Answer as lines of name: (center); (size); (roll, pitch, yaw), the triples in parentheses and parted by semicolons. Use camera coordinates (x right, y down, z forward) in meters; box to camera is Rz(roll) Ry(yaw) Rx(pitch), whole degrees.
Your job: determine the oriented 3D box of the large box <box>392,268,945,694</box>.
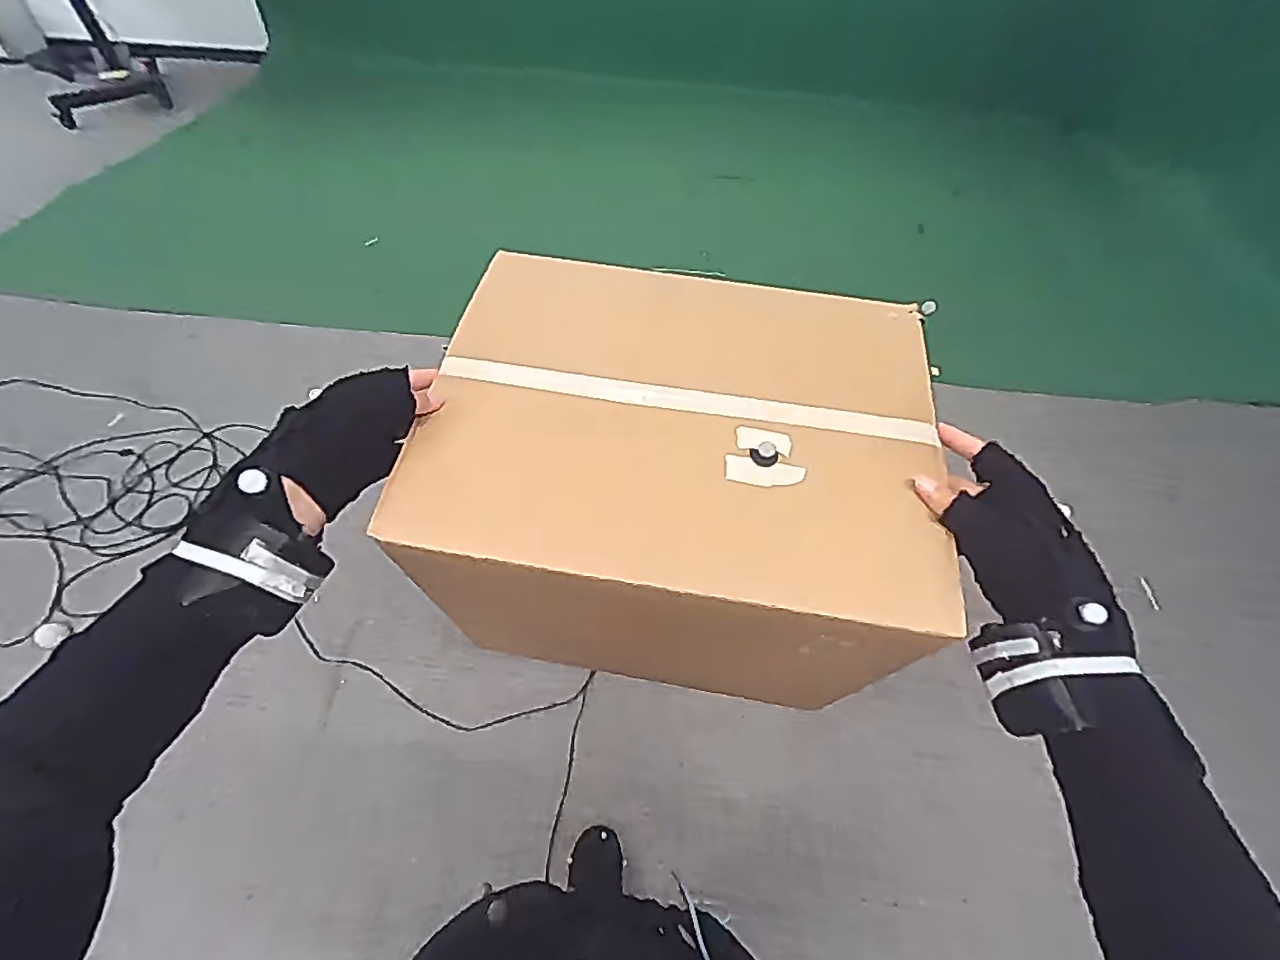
large box: (0.031, 0.017, 0.582); (0.408, 0.320, 0.320); (9, 60, 4)
